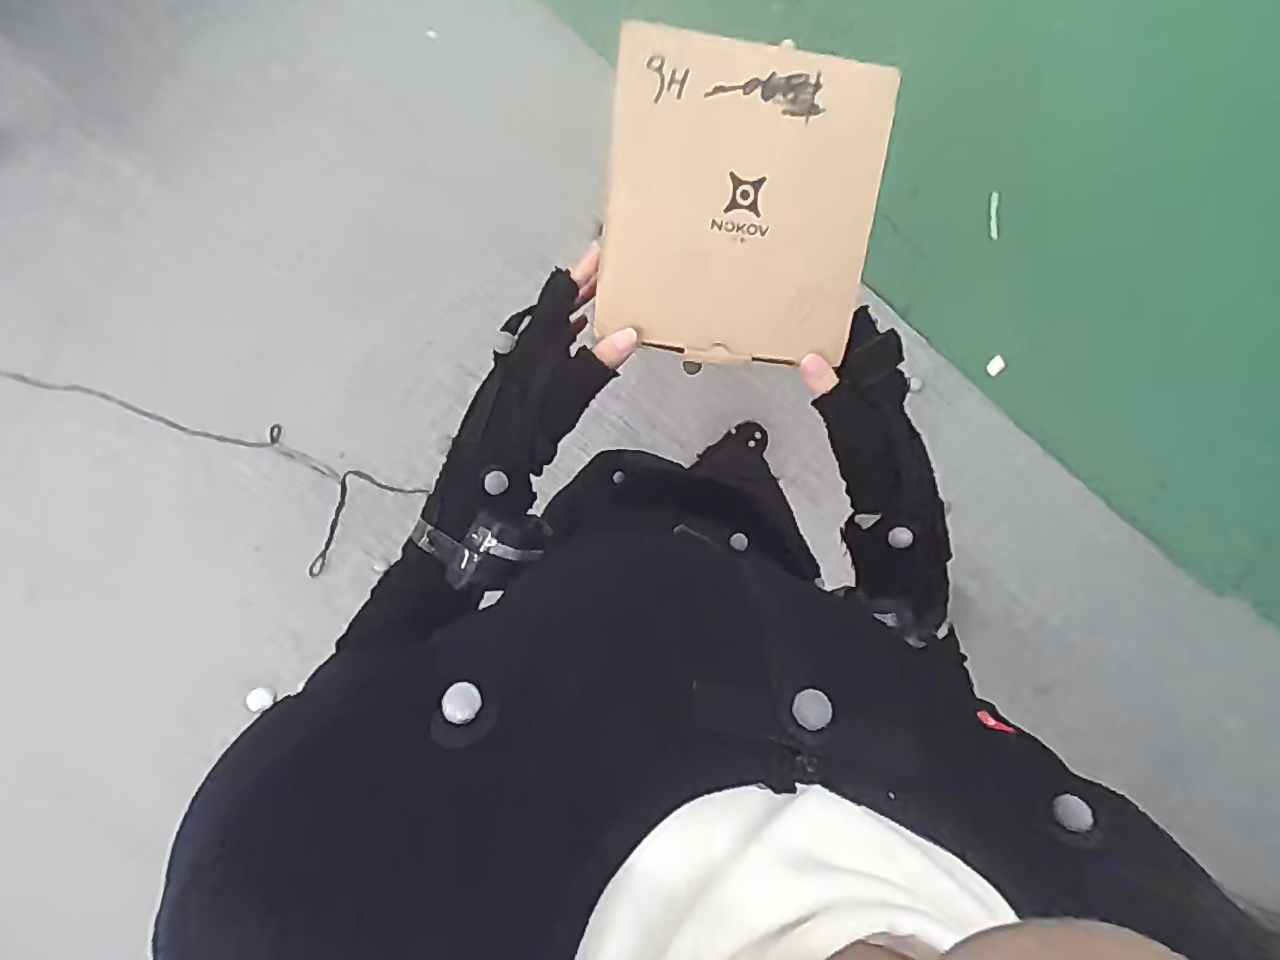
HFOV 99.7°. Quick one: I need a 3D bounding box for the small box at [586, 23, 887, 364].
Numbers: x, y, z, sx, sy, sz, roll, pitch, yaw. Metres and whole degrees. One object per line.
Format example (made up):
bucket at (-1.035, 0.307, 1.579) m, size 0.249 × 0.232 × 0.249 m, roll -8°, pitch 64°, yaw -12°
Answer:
small box at (0.052, -0.188, 0.407) m, size 0.168 × 0.176 × 0.179 m, roll 5°, pitch 105°, yaw -4°
